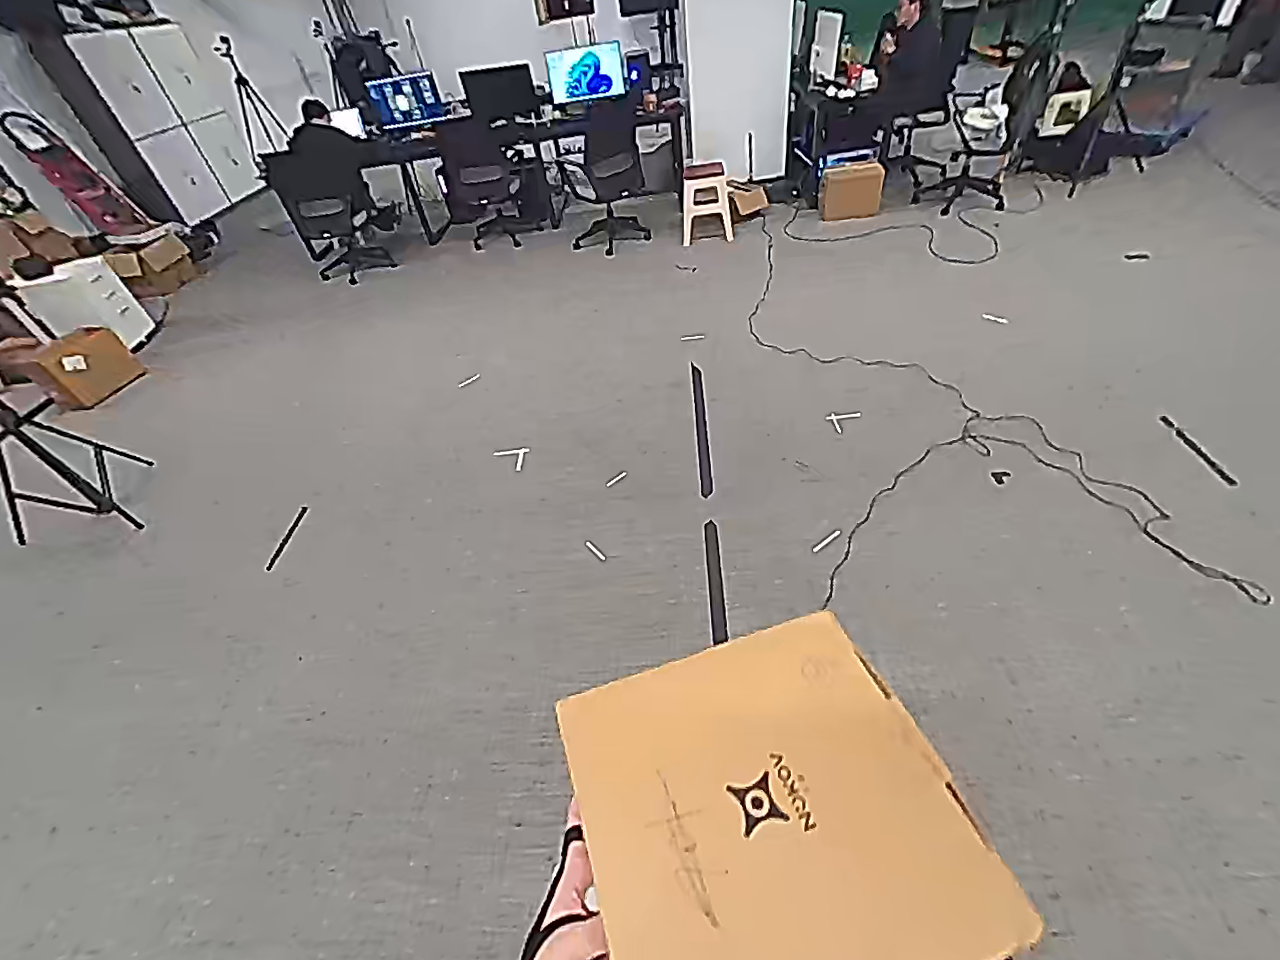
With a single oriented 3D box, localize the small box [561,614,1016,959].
[{"bbox_3d":[0.064,0.216,0.329,0.179,0.176,0.168,-16,44,-10],"label":"small box"}]
